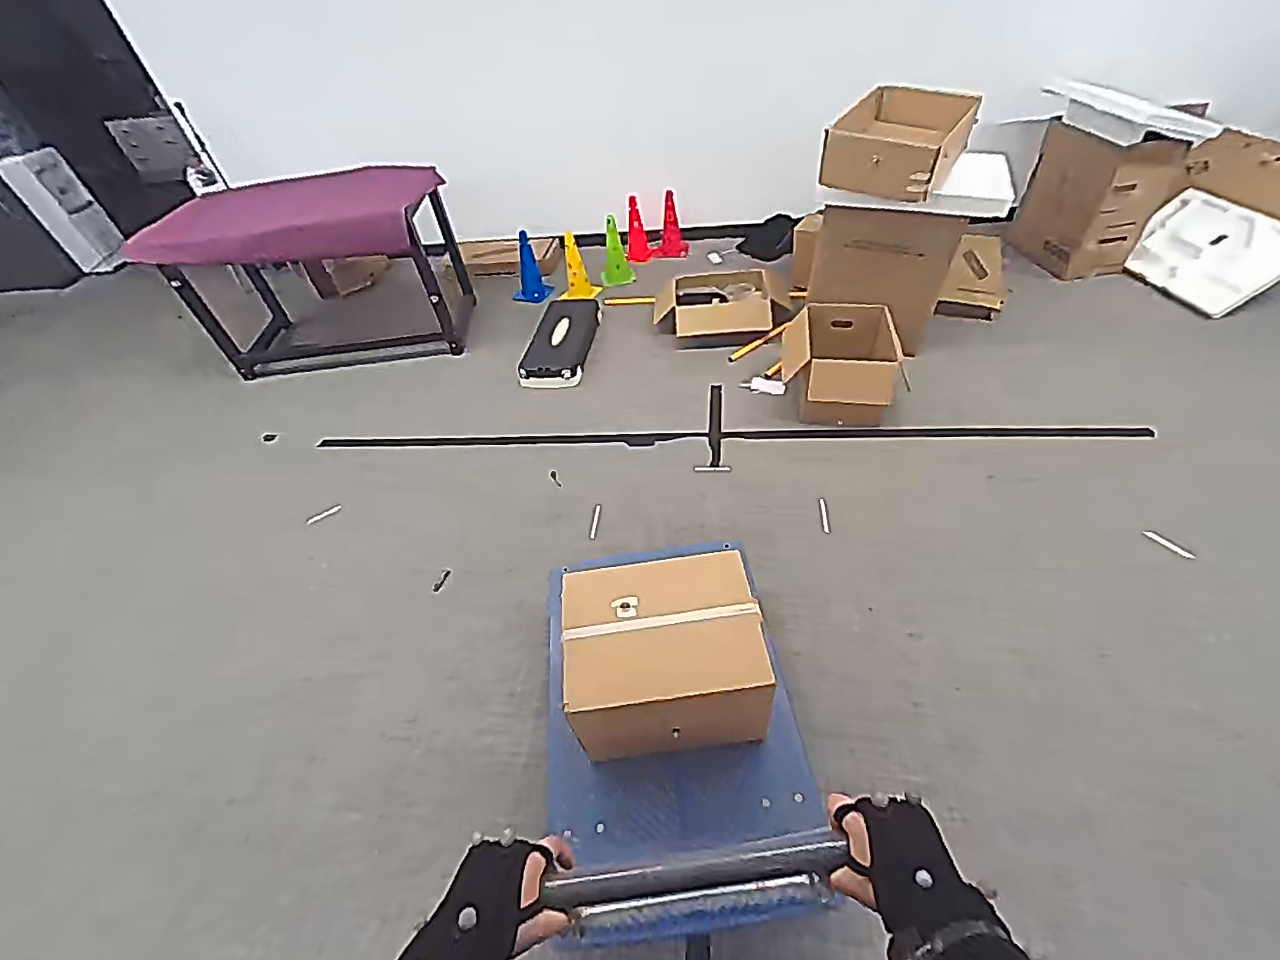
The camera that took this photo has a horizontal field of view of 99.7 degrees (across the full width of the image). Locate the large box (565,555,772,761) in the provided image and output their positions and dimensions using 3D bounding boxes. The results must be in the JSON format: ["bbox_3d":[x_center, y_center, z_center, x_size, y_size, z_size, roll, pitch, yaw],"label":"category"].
[{"bbox_3d":[0.060,0.413,1.244,0.408,0.320,0.320,-9,45,1],"label":"large box"}]
